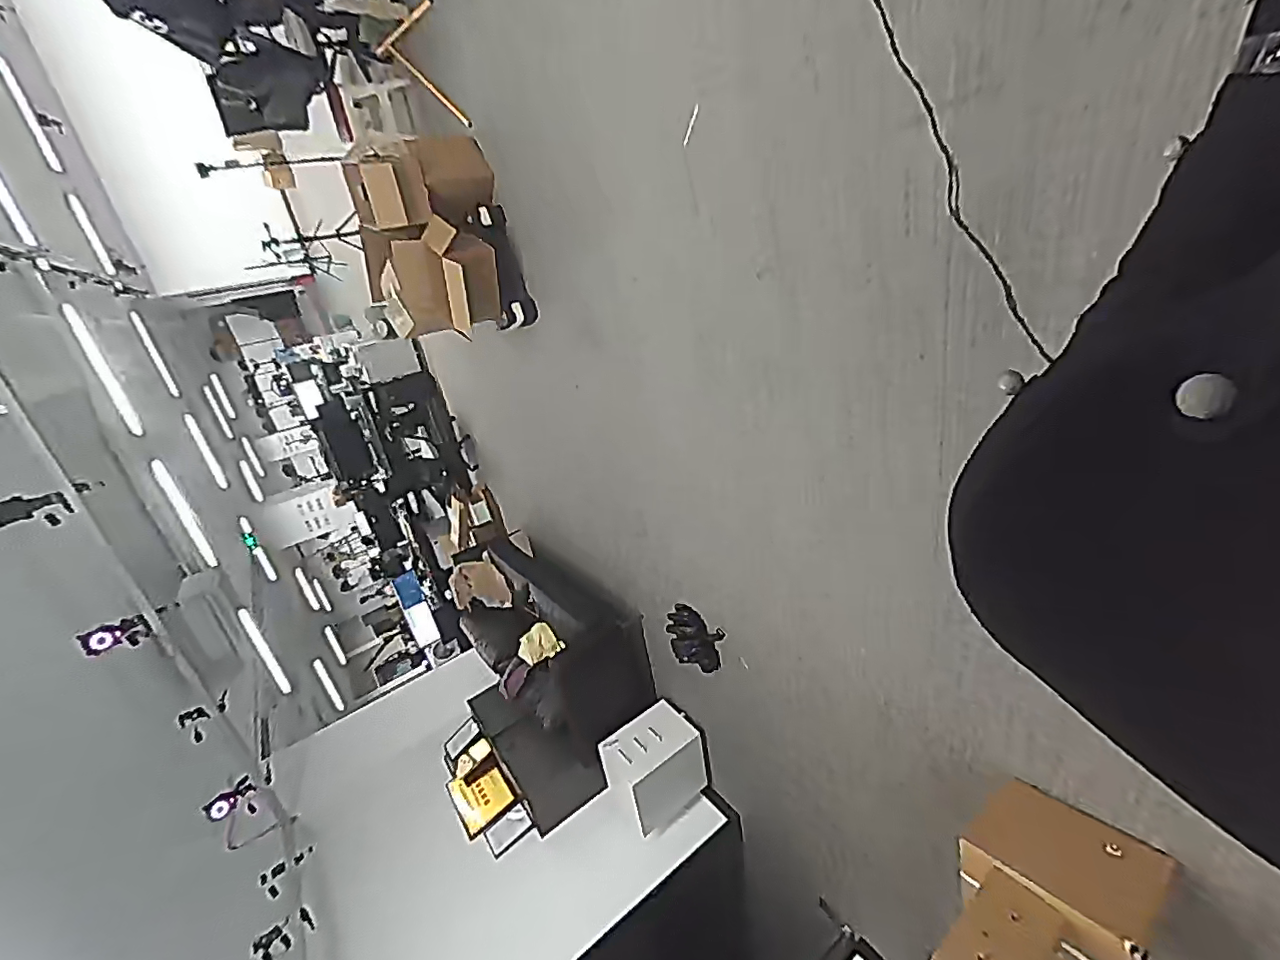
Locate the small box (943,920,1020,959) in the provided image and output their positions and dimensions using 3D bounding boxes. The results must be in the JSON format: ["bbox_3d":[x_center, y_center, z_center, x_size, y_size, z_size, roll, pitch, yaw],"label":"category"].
[{"bbox_3d":[0.877,1.285,1.368,0.168,0.176,0.179,17,125,54],"label":"small box"}]

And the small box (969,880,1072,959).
[{"bbox_3d":[1.007,1.220,1.442,0.179,0.176,0.168,19,126,52],"label":"small box"}]
